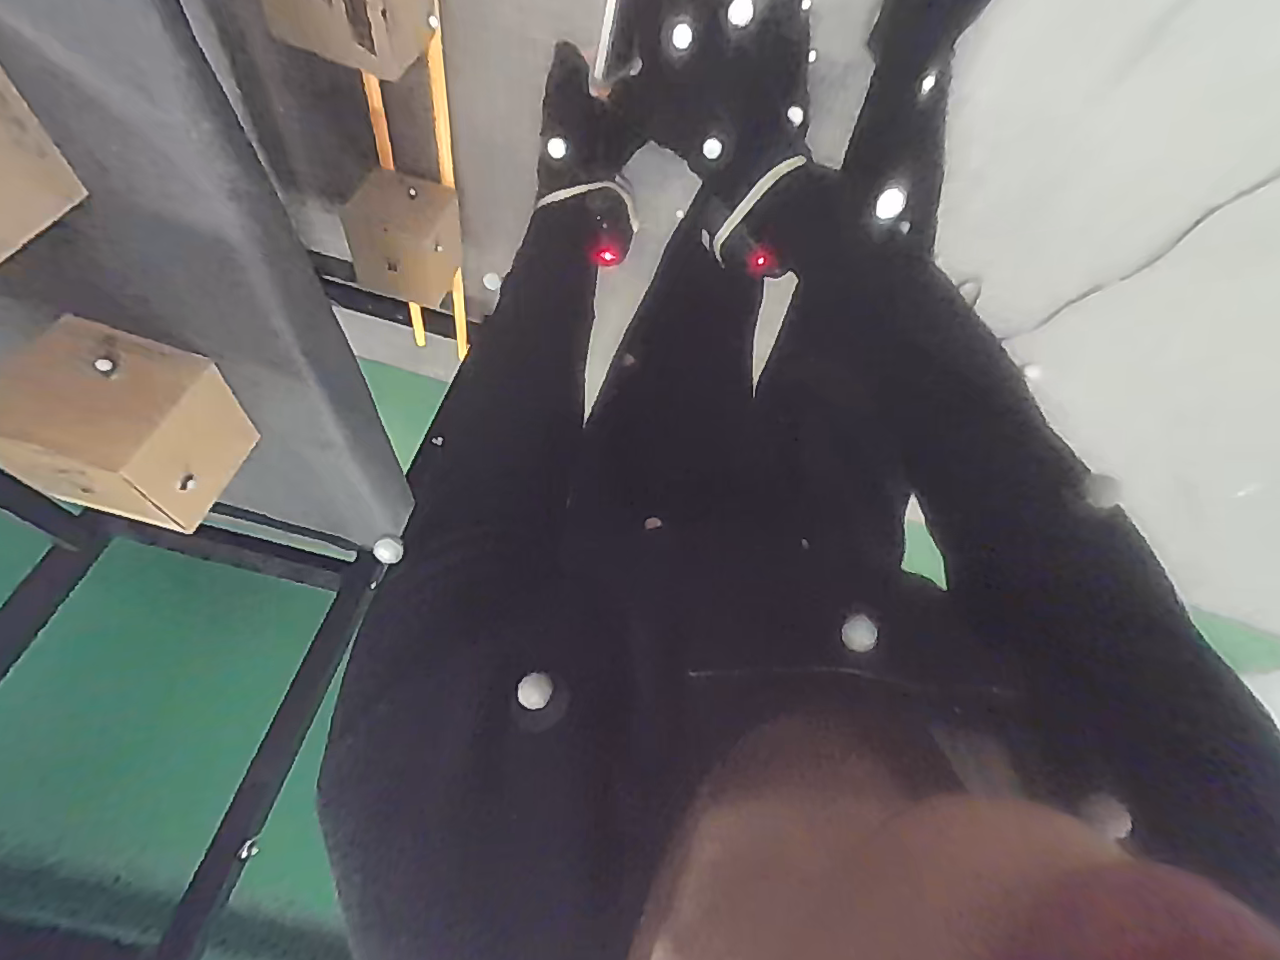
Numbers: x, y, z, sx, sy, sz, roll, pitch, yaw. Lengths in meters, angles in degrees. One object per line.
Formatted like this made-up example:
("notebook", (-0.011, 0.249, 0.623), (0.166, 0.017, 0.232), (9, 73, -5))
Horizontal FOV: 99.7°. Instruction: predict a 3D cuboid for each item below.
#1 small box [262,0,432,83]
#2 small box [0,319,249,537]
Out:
("small box", (-0.398, -0.701, 0.742), (0.179, 0.176, 0.168), (17, 148, -7))
("small box", (-0.624, -0.057, 0.656), (0.168, 0.176, 0.179), (17, 149, -7))
